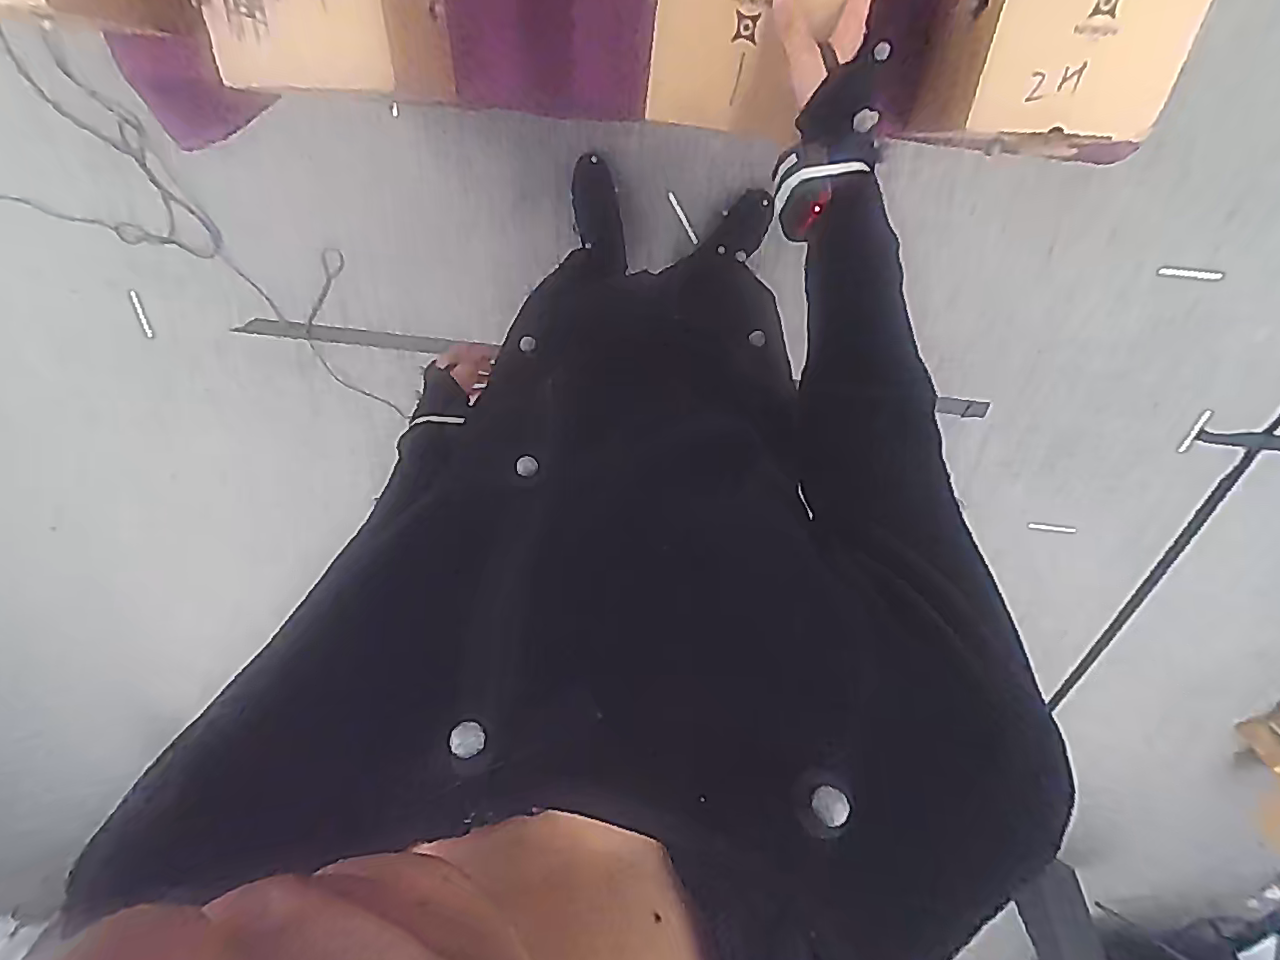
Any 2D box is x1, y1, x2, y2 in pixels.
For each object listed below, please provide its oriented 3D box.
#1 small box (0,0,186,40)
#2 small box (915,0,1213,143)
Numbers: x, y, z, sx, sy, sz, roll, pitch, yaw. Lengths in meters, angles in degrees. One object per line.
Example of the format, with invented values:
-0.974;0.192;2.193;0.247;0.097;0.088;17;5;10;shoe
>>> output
-0.622;-0.558;0.537;0.179;0.176;0.168;5;122;1;small box
0.393;-0.433;0.520;0.168;0.176;0.179;5;123;3;small box
